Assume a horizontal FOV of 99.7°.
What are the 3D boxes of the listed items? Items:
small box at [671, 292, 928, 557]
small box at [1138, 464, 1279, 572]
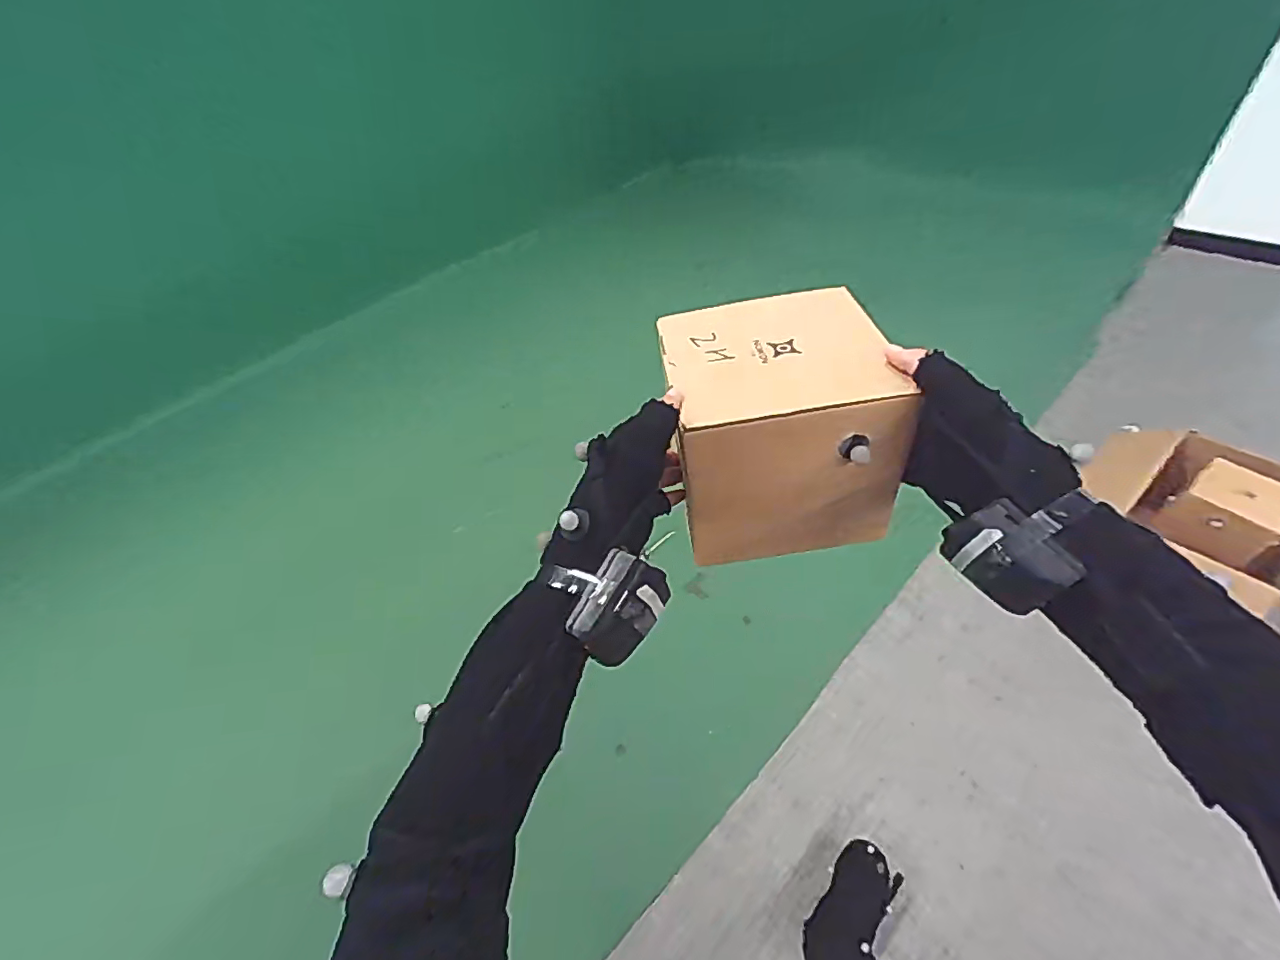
[{"bbox_3d":[0.128,-0.049,0.504,0.179,0.176,0.168,-9,44,2],"label":"small box"},{"bbox_3d":[1.393,0.100,1.322,0.168,0.176,0.179,-35,52,-21],"label":"small box"}]
